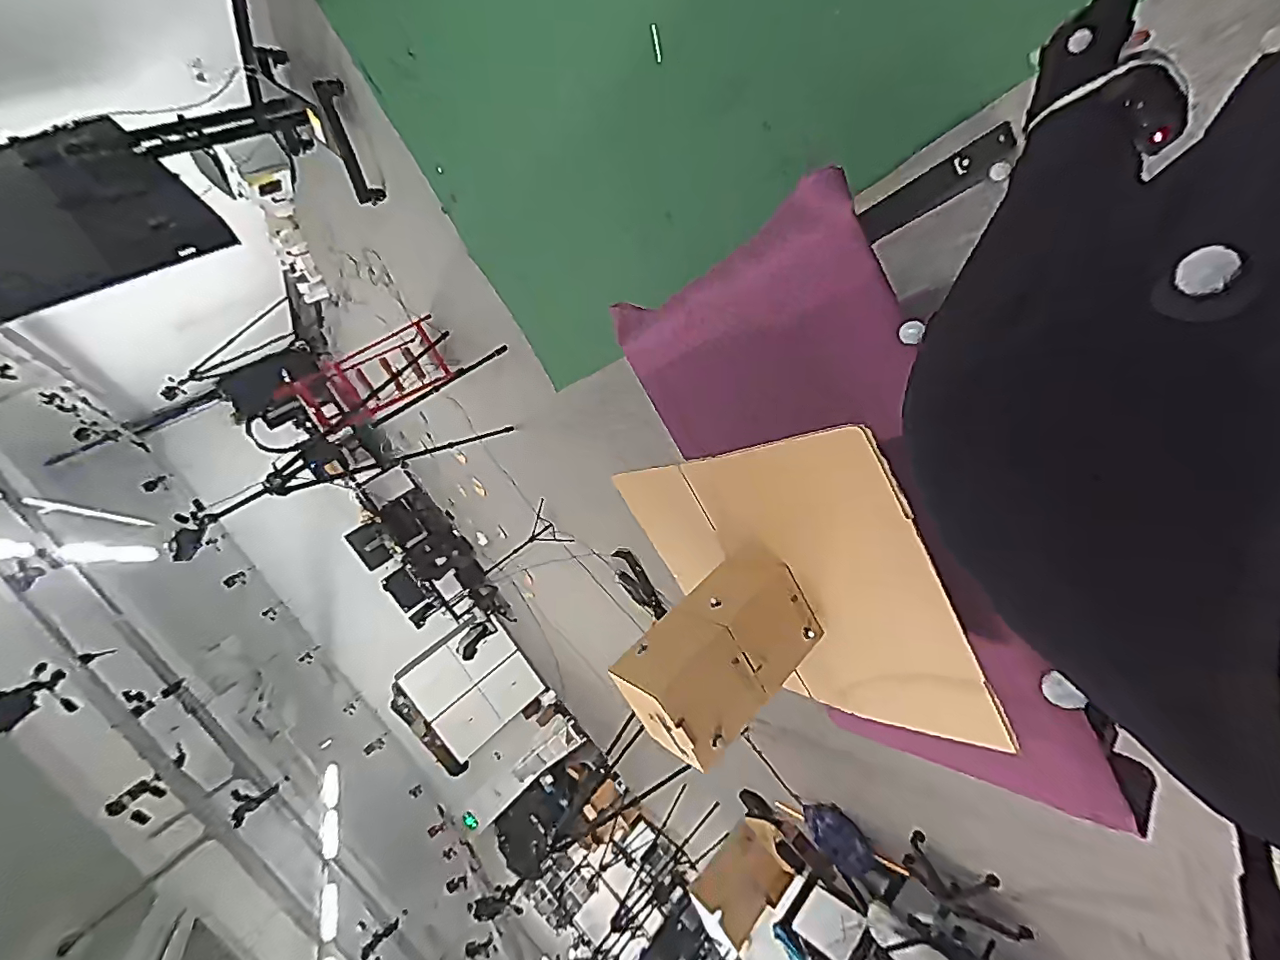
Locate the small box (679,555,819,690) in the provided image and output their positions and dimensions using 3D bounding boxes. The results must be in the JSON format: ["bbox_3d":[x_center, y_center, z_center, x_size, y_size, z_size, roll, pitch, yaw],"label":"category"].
[{"bbox_3d":[0.213,0.258,1.028,0.168,0.176,0.179,59,154,-14],"label":"small box"}]
